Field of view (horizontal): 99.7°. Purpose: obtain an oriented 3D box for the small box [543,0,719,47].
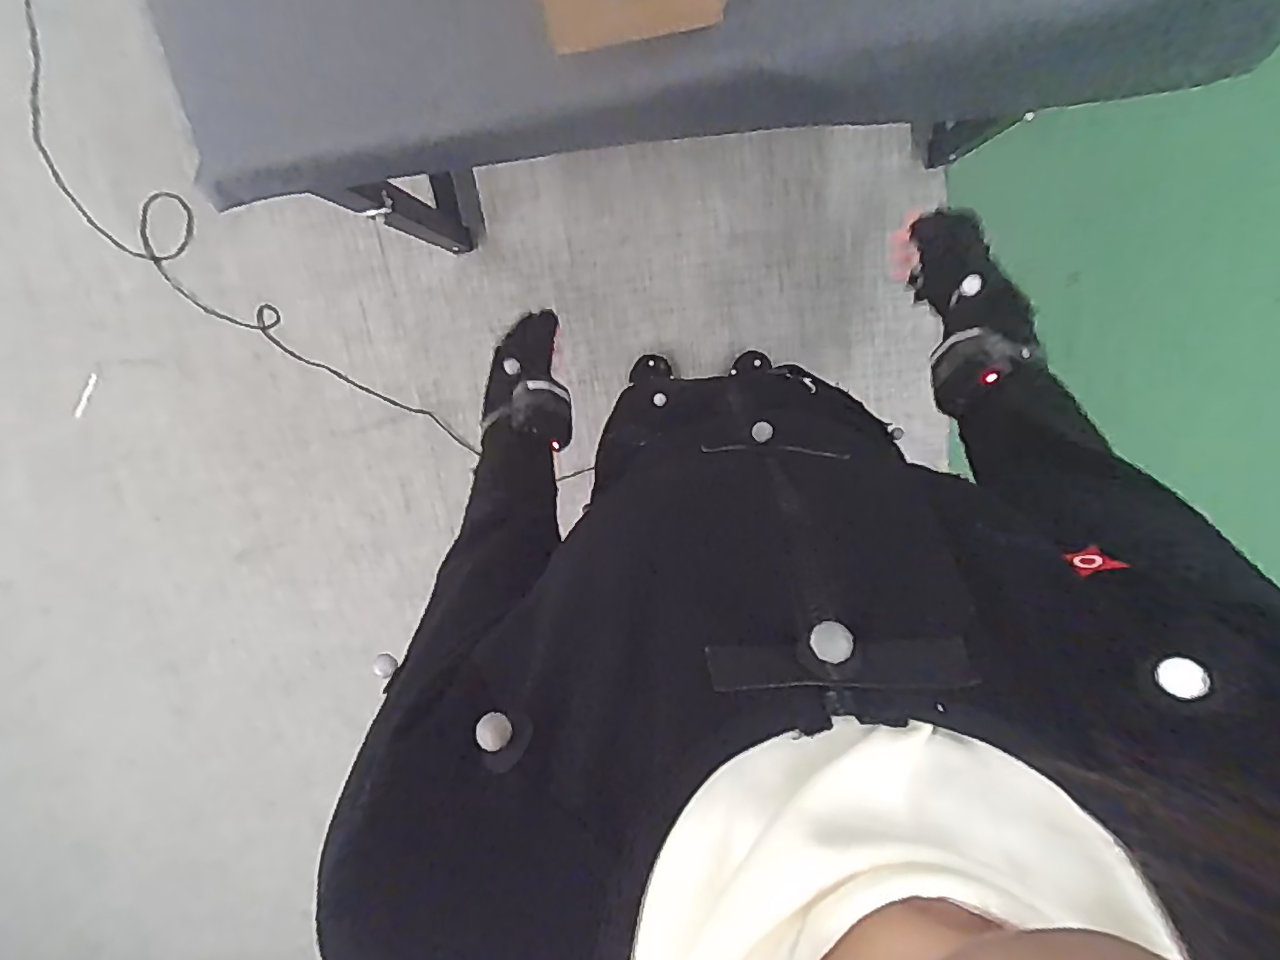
[{"bbox_3d":[-0.016,-0.525,0.476,0.179,0.176,0.168,-8,103,3],"label":"small box"}]
